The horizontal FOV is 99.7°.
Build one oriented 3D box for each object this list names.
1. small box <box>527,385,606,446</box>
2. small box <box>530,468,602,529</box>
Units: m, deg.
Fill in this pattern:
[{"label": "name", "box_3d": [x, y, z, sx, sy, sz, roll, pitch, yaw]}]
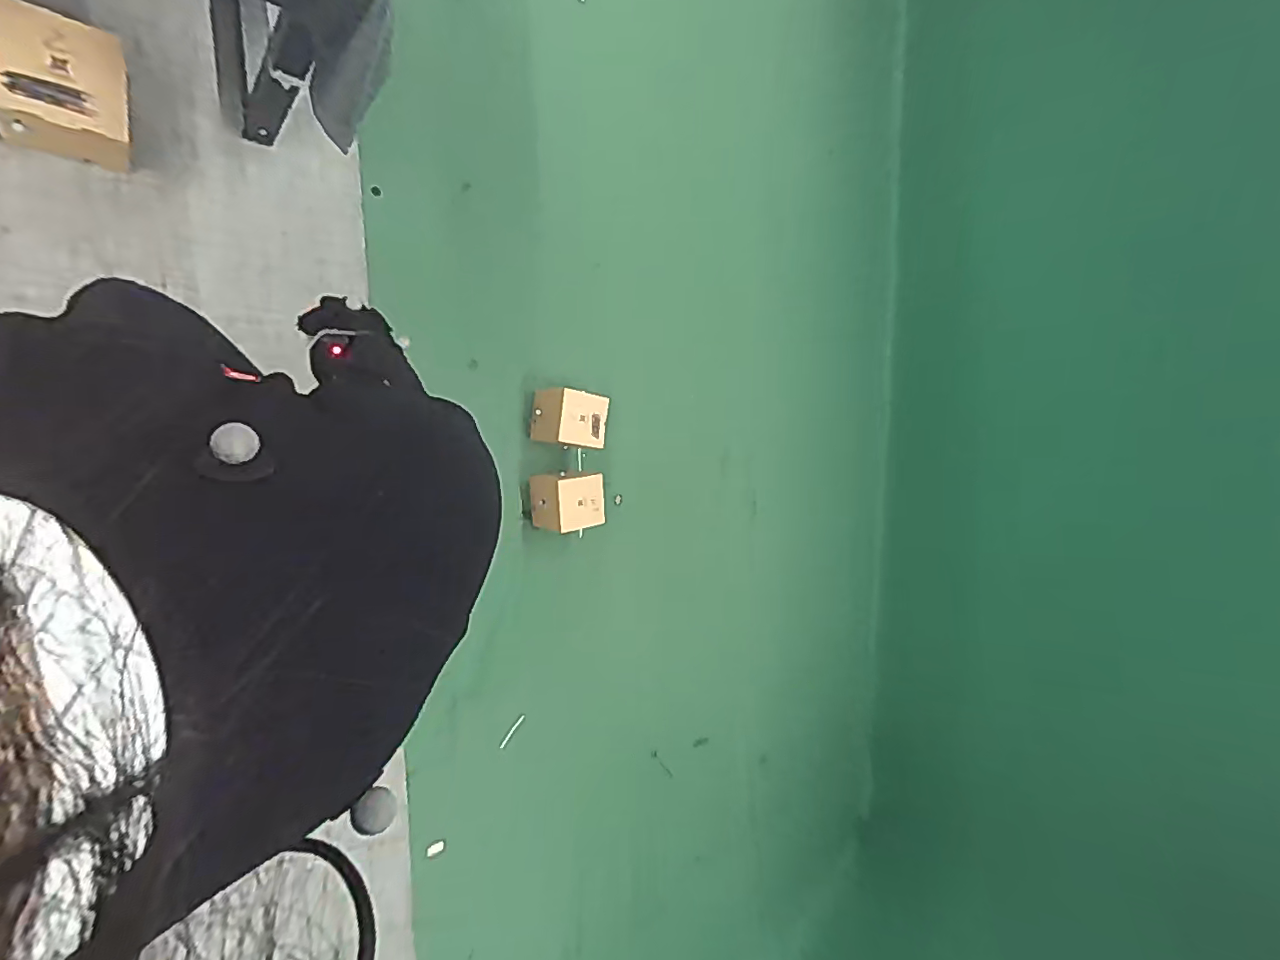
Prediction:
[{"label": "small box", "box_3d": [-0.235, -0.205, 1.730, 0.179, 0.176, 0.168, 7, 89, -43]}, {"label": "small box", "box_3d": [-0.243, 0.053, 1.750, 0.179, 0.176, 0.168, -10, 103, -43]}]
